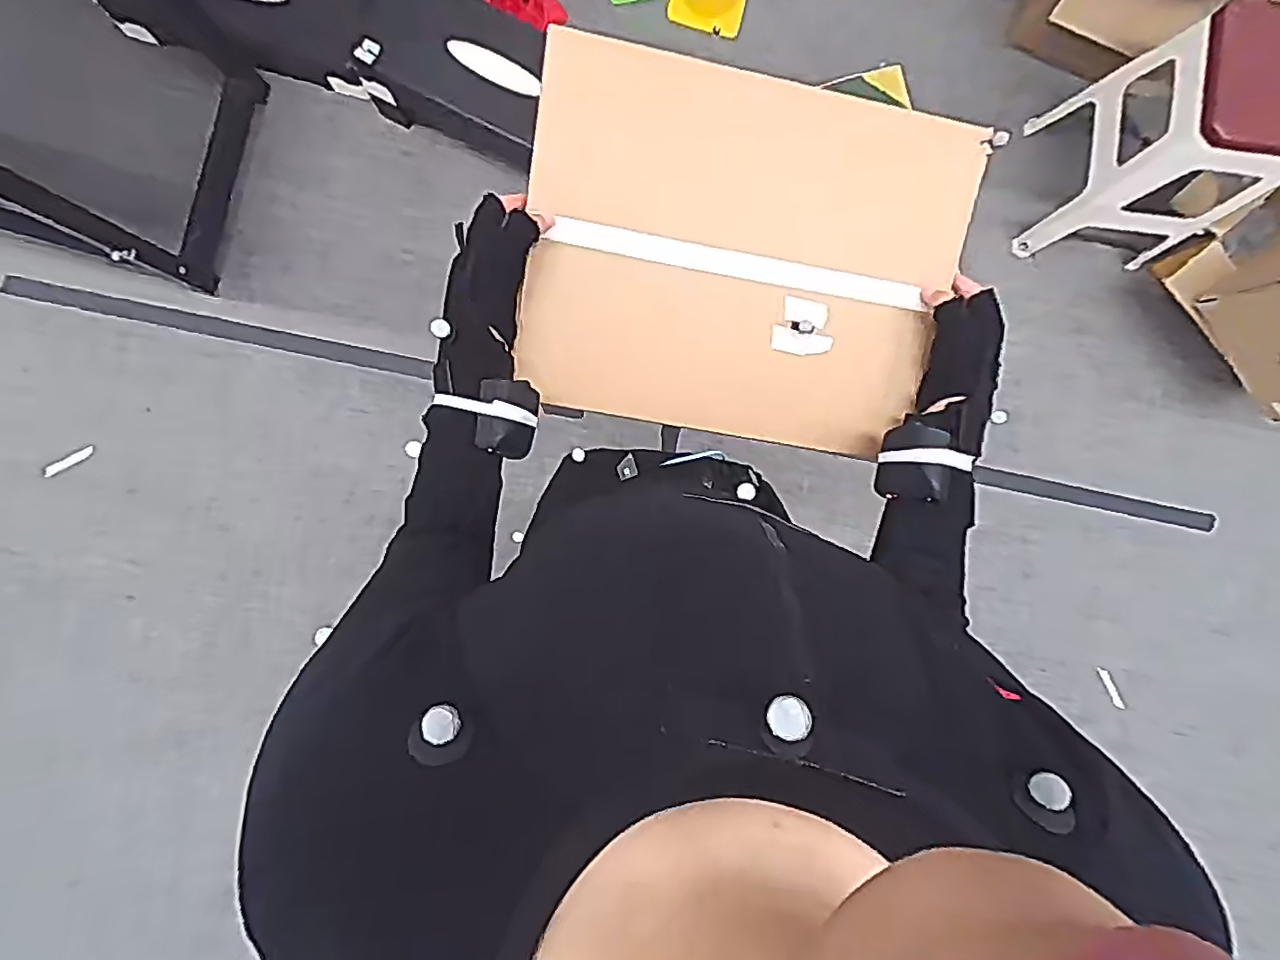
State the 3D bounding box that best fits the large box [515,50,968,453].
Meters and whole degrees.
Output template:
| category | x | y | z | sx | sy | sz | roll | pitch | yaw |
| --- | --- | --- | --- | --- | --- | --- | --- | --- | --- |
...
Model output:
| category | x | y | z | sx | sy | sz | roll | pitch | yaw |
| --- | --- | --- | --- | --- | --- | --- | --- | --- | --- |
| large box | 0.080 | -0.232 | 0.662 | 0.408 | 0.320 | 0.320 | 9 | 102 | -7 |
